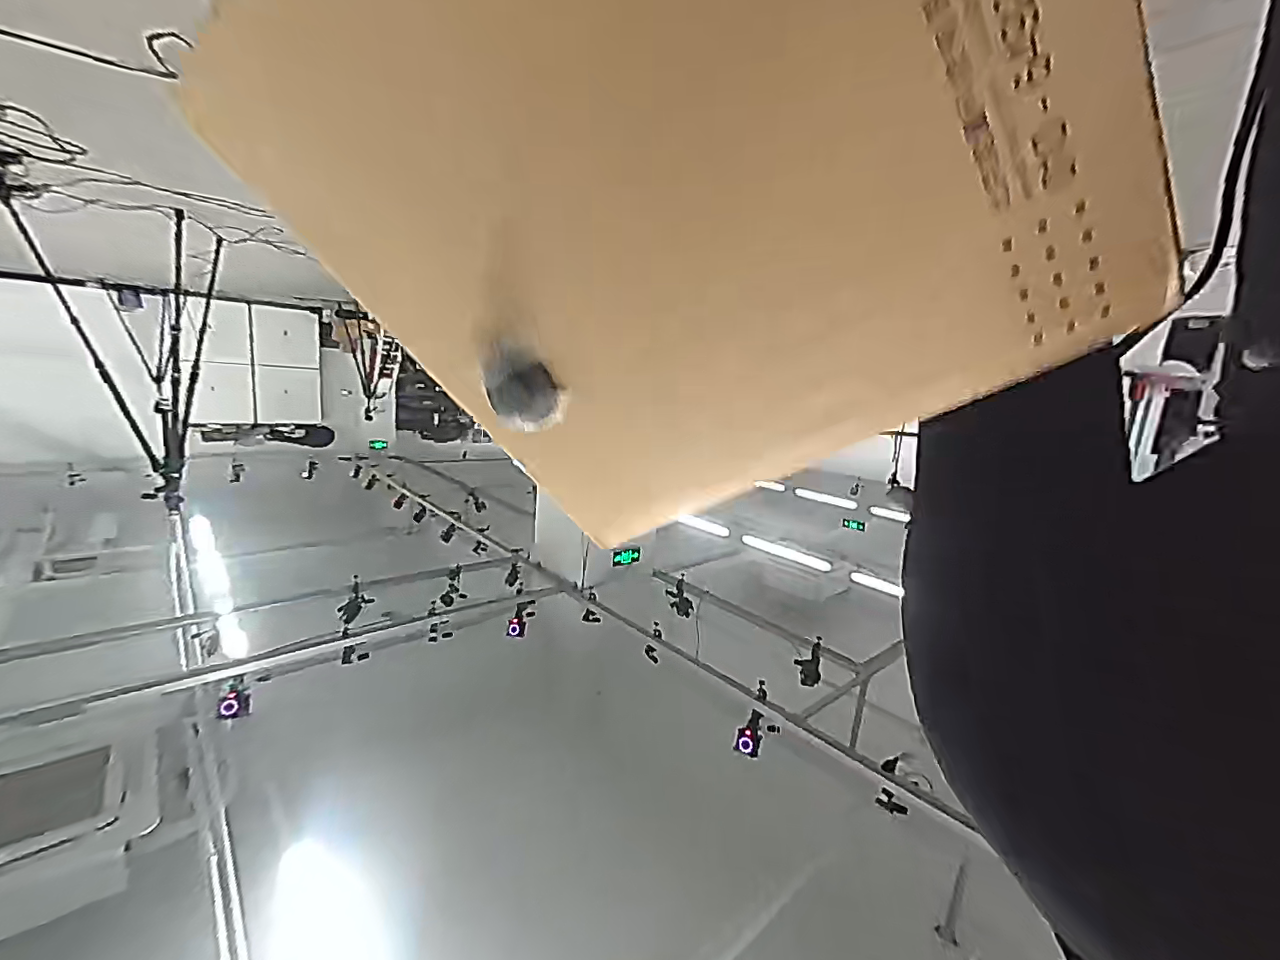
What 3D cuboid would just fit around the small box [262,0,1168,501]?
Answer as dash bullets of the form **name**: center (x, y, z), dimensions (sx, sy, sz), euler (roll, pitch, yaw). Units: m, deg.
- **small box**: center (0.031, -0.127, 0.193), dimensions (0.176, 0.168, 0.179), euler (-25, -150, 29)
